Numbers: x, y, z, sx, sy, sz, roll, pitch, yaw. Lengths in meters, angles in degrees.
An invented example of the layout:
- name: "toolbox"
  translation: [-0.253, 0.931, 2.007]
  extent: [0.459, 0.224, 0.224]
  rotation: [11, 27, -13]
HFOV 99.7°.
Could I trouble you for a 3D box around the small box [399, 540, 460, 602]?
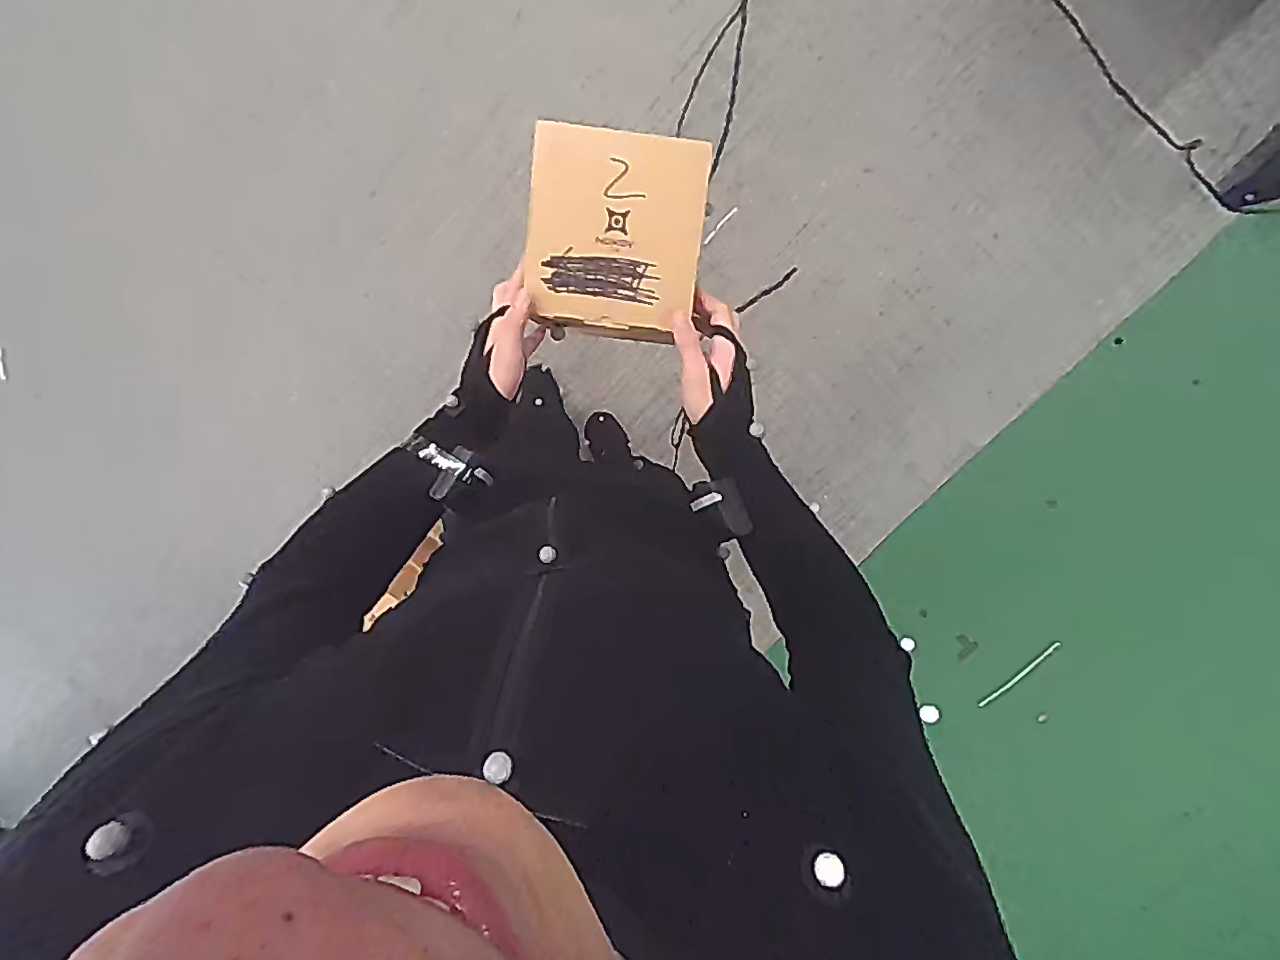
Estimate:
- name: "small box"
  translation: [-0.646, 0.302, 1.559]
  extent: [0.179, 0.176, 0.168]
  rotation: [-43, 98, 9]
